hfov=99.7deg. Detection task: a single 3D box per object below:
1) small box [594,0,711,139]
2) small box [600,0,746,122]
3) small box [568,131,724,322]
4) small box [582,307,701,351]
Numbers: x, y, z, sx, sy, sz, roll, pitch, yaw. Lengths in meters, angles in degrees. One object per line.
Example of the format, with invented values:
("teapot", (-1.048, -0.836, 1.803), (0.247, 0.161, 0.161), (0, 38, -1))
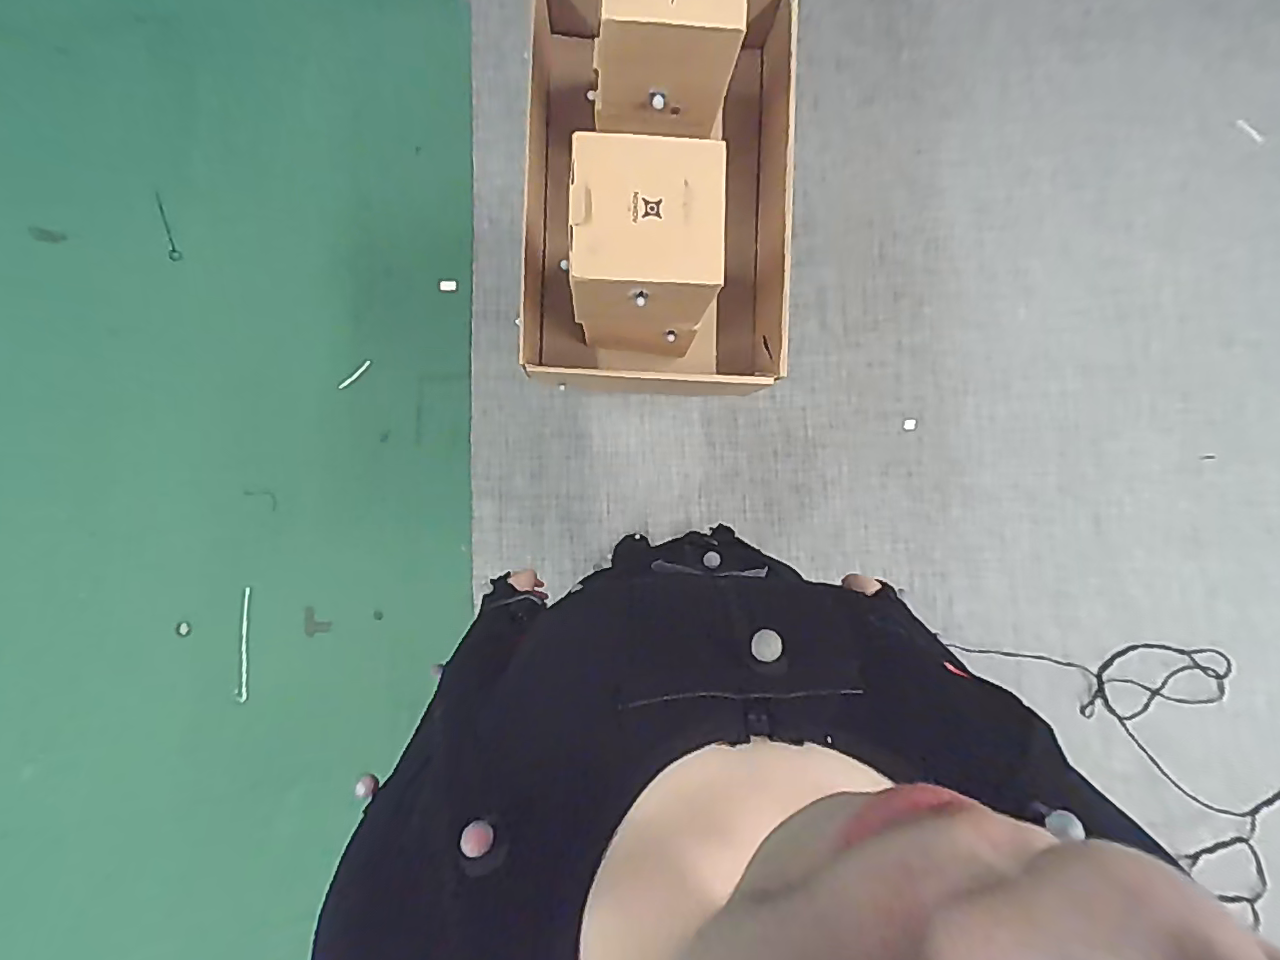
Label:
("small box", (0.021, -0.605, 0.847), (0.179, 0.176, 0.168), (3, 91, -4))
("small box", (0.035, -0.598, 0.683), (0.168, 0.176, 0.179), (2, 92, -4))
("small box", (0.002, -0.306, 0.687), (0.179, 0.176, 0.168), (1, 91, -5))
("small box", (0.001, -0.309, 0.850), (0.179, 0.176, 0.168), (5, 89, -4))
